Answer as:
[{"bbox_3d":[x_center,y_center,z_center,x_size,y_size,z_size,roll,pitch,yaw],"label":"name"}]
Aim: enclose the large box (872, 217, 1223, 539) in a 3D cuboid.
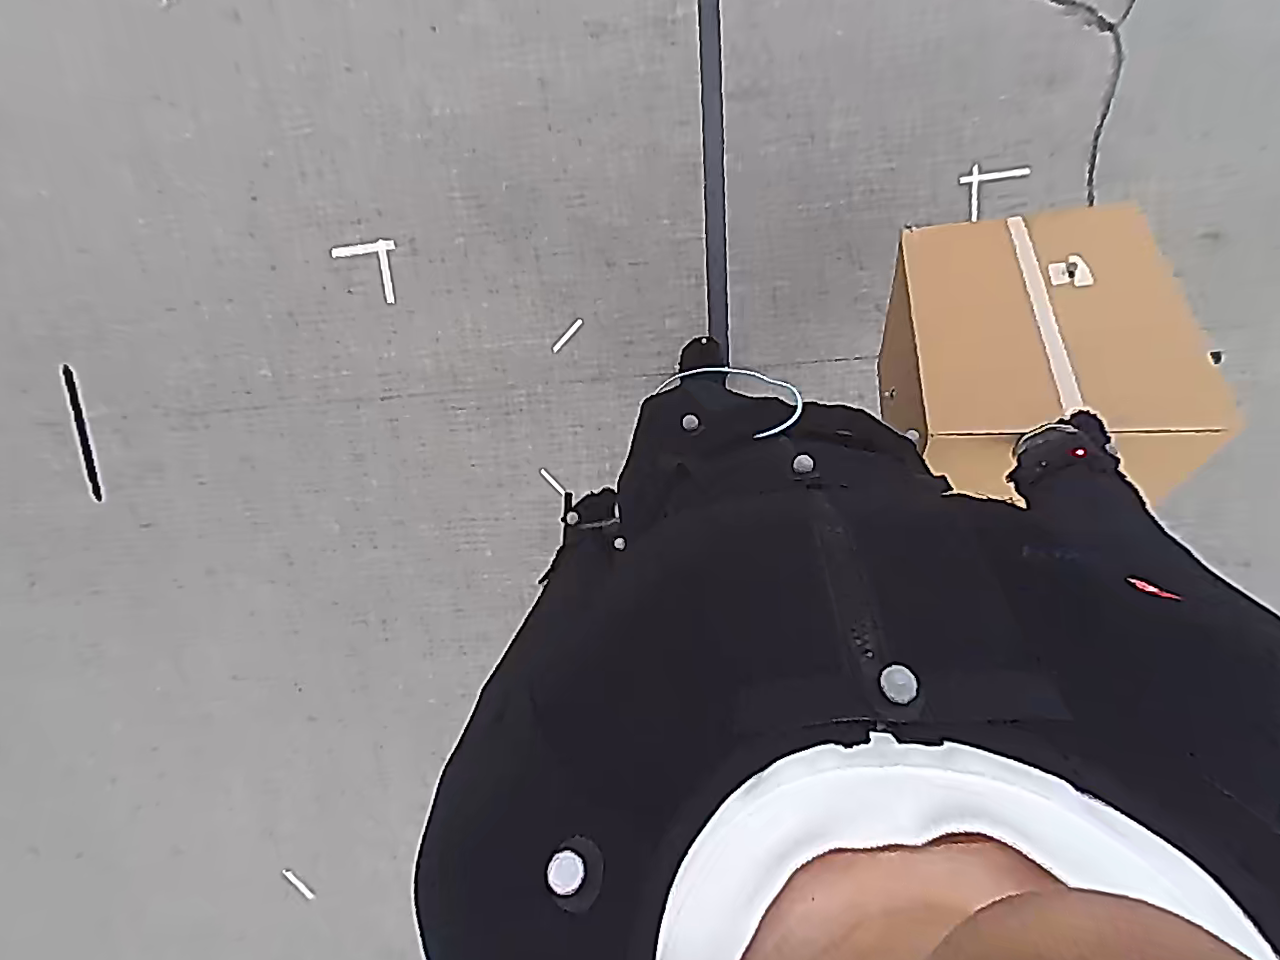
[{"bbox_3d":[0.571,-0.148,0.870,0.320,0.320,0.408,1,58,14],"label":"large box"}]
